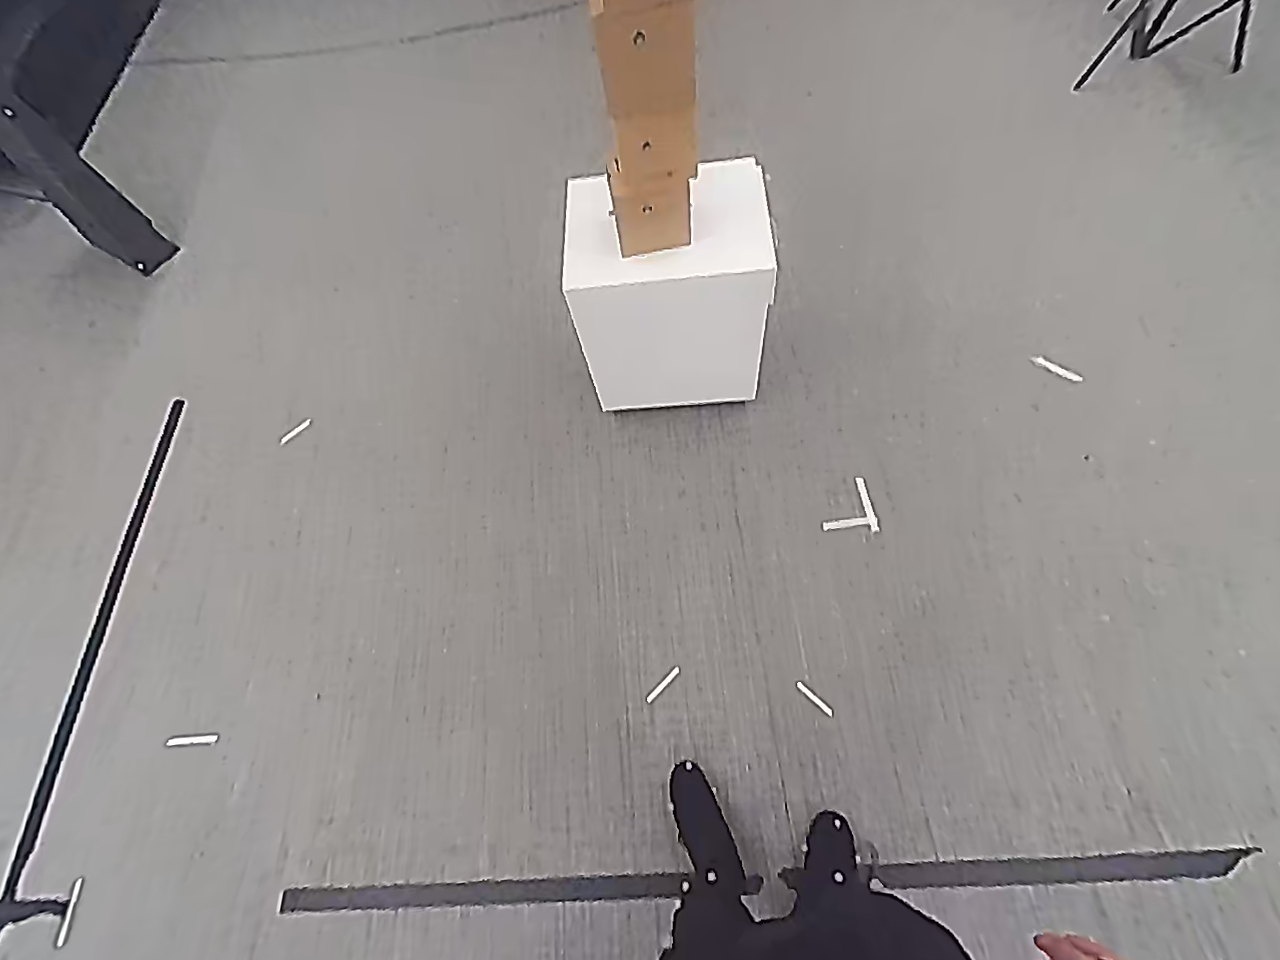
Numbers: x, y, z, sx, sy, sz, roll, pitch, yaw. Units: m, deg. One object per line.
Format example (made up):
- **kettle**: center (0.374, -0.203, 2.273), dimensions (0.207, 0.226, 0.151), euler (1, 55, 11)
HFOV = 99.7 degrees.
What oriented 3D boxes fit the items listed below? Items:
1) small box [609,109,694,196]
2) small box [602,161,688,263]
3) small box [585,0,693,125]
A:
- **small box**: center (0.022, -0.738, 1.162), dimensions (0.168, 0.176, 0.179), euler (-10, 63, 2)
- **small box**: center (0.016, -0.651, 1.302), dimensions (0.179, 0.176, 0.168), euler (-10, 64, 1)
- **small box**: center (0.002, -0.797, 1.009), dimensions (0.179, 0.176, 0.168), euler (-7, 64, 3)
